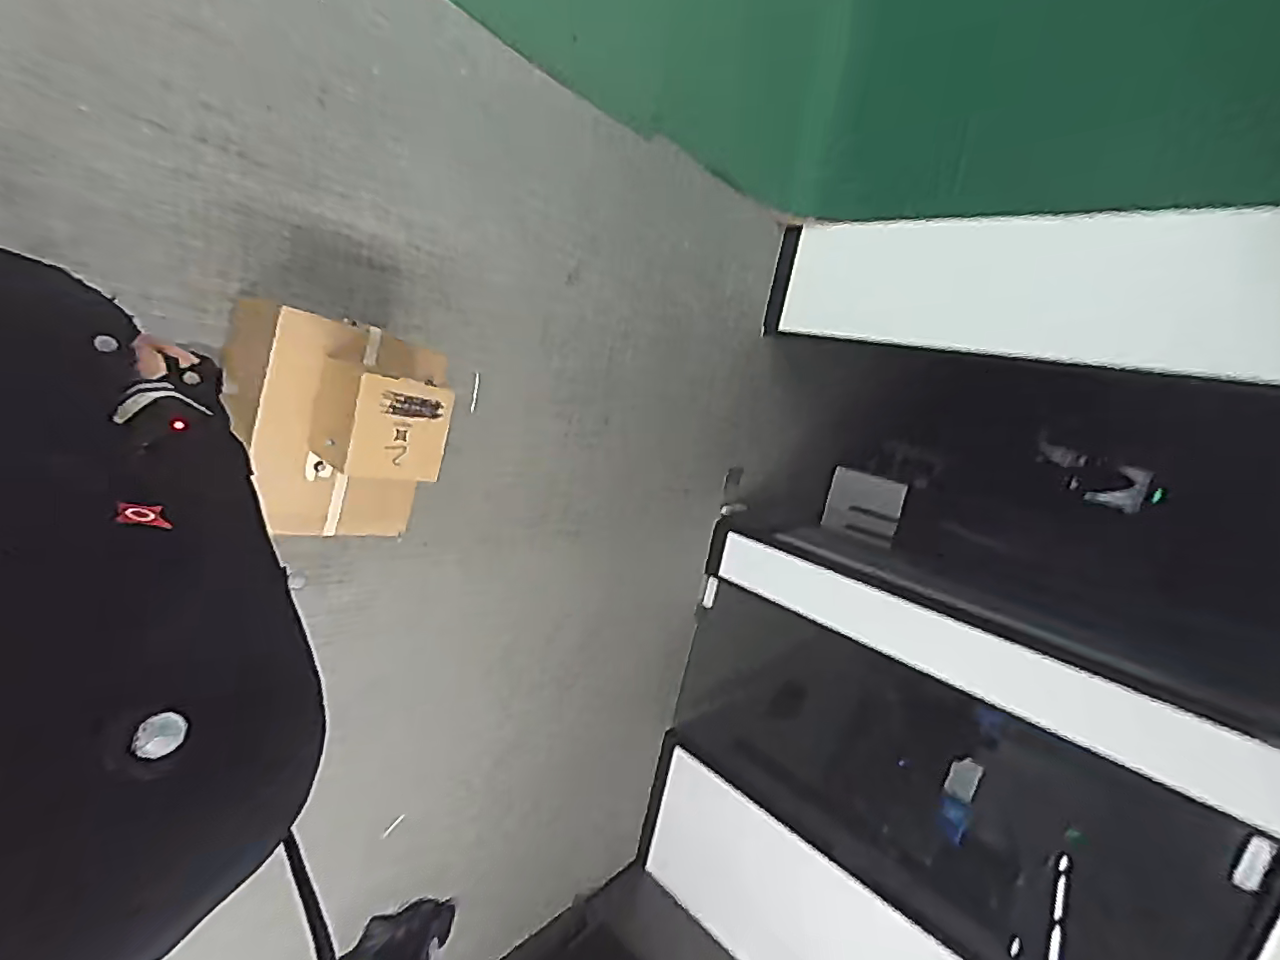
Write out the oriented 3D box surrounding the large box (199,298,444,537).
[{"bbox_3d":[-0.665,-0.124,1.129,0.320,0.320,0.408,10,99,-50],"label":"large box"}]
